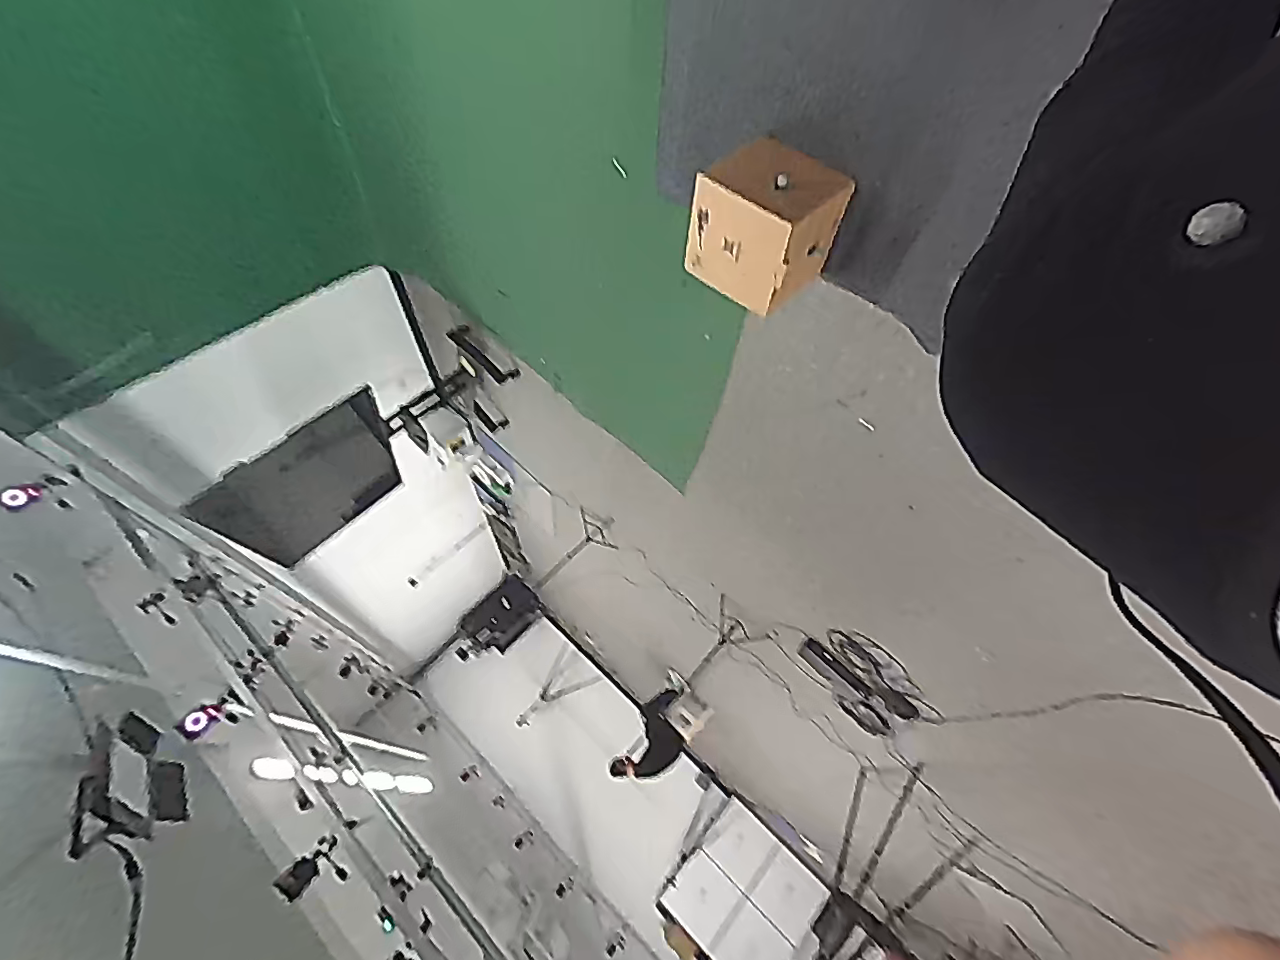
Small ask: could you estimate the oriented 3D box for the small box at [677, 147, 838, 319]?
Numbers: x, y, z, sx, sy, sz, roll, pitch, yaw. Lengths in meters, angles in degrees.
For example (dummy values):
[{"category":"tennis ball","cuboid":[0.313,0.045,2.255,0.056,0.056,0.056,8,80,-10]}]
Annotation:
[{"category":"small box","cuboid":[0.185,-0.400,0.868,0.179,0.176,0.168,38,152,18]}]
